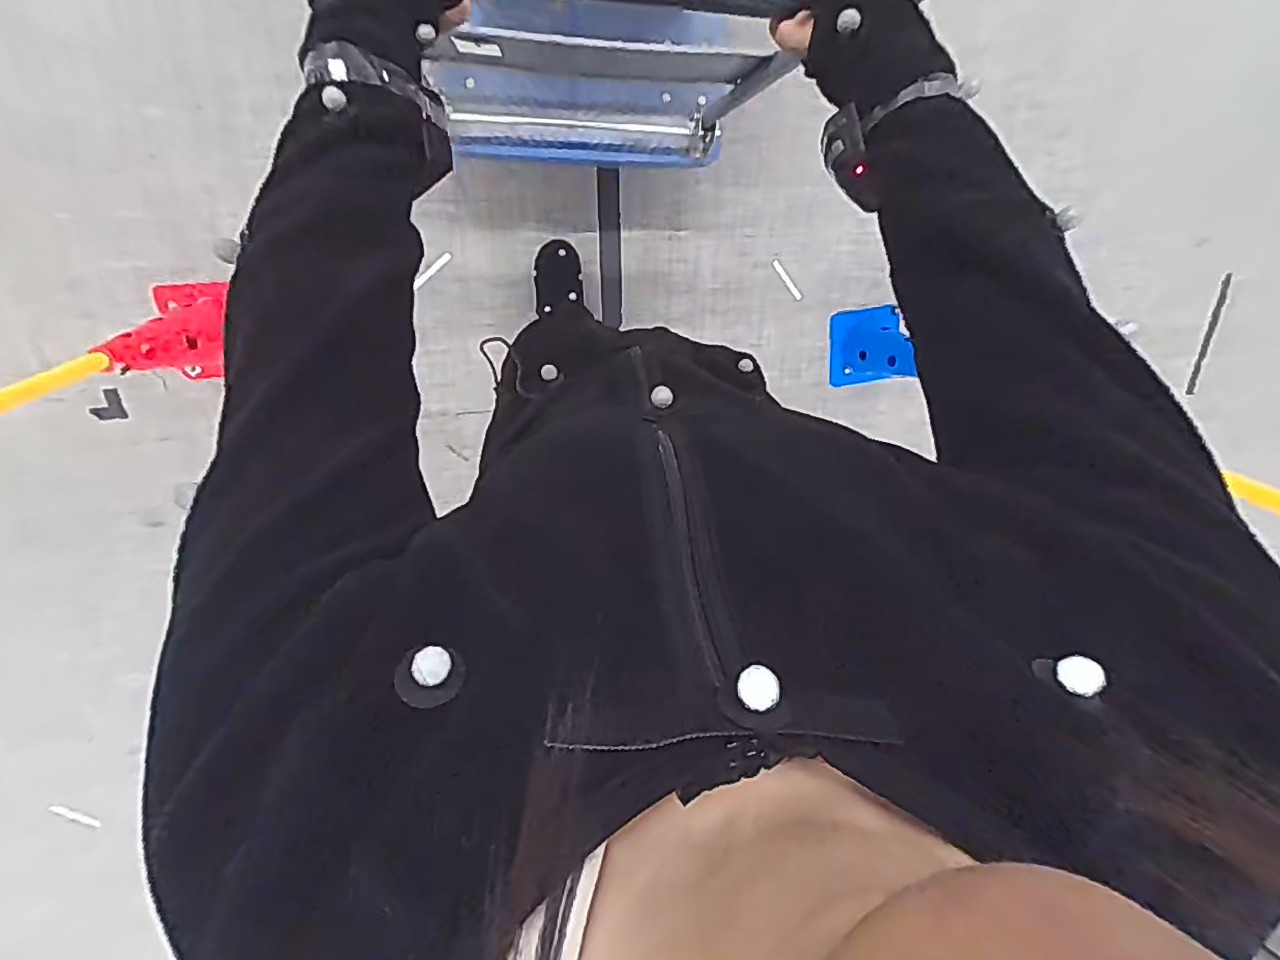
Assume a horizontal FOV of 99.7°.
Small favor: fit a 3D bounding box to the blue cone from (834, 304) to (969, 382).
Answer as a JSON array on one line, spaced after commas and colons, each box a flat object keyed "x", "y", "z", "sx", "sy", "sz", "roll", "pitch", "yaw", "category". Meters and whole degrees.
[{"x": 0.641, "y": -0.306, "z": 1.304, "sx": 0.193, "sy": 0.380, "sz": 0.192, "roll": -9, "pitch": 113, "yaw": -8, "category": "blue cone"}]
